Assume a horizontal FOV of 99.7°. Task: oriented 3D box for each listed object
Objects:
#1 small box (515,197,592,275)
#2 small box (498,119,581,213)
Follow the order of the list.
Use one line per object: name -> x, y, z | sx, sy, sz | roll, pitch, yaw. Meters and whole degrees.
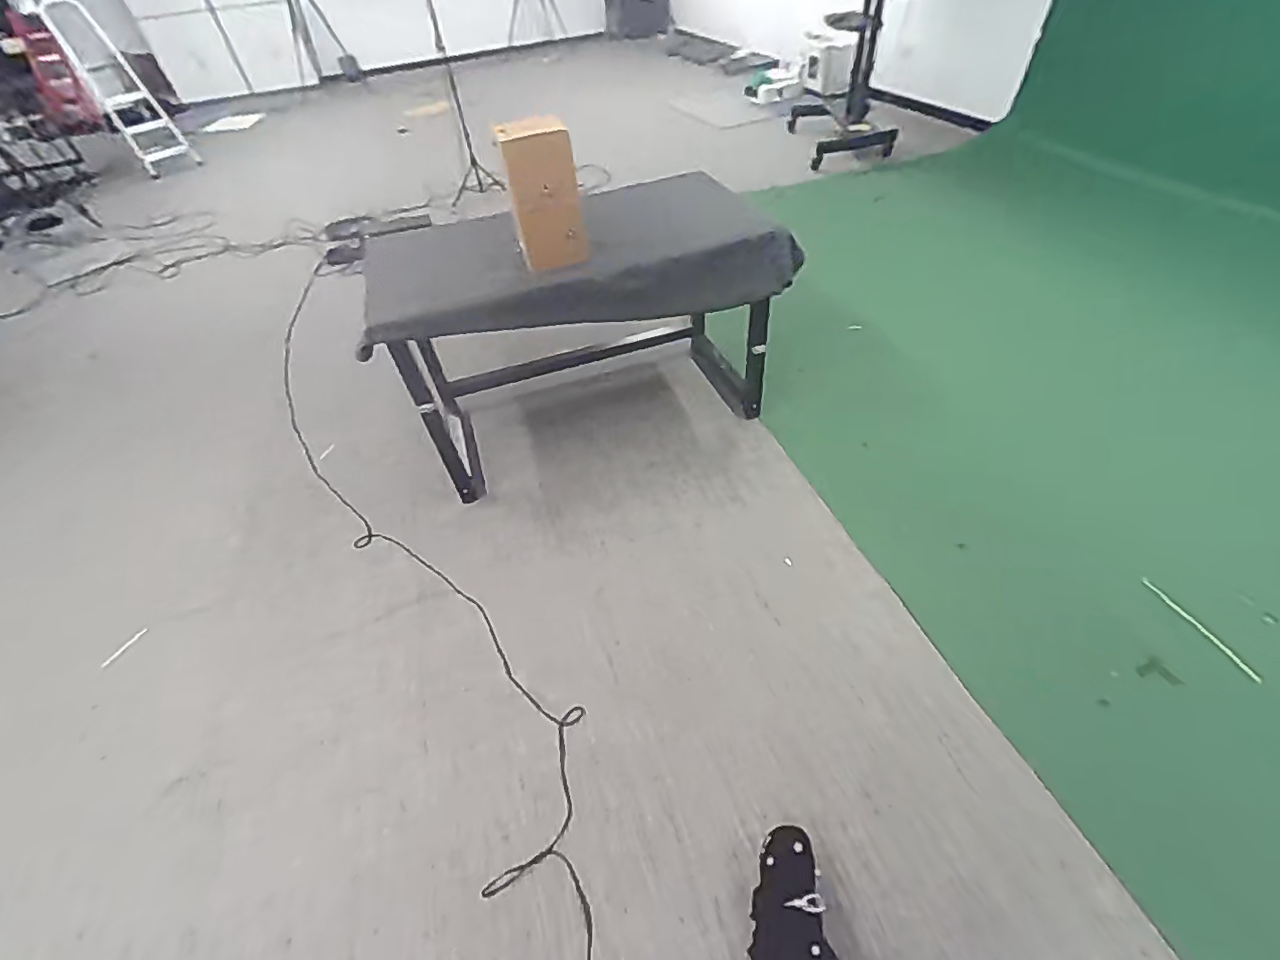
small box -> -0.243, -0.713, 1.545 | 0.179, 0.176, 0.168 | -18, 46, -9
small box -> -0.261, -0.832, 1.433 | 0.179, 0.176, 0.168 | -16, 46, -9
